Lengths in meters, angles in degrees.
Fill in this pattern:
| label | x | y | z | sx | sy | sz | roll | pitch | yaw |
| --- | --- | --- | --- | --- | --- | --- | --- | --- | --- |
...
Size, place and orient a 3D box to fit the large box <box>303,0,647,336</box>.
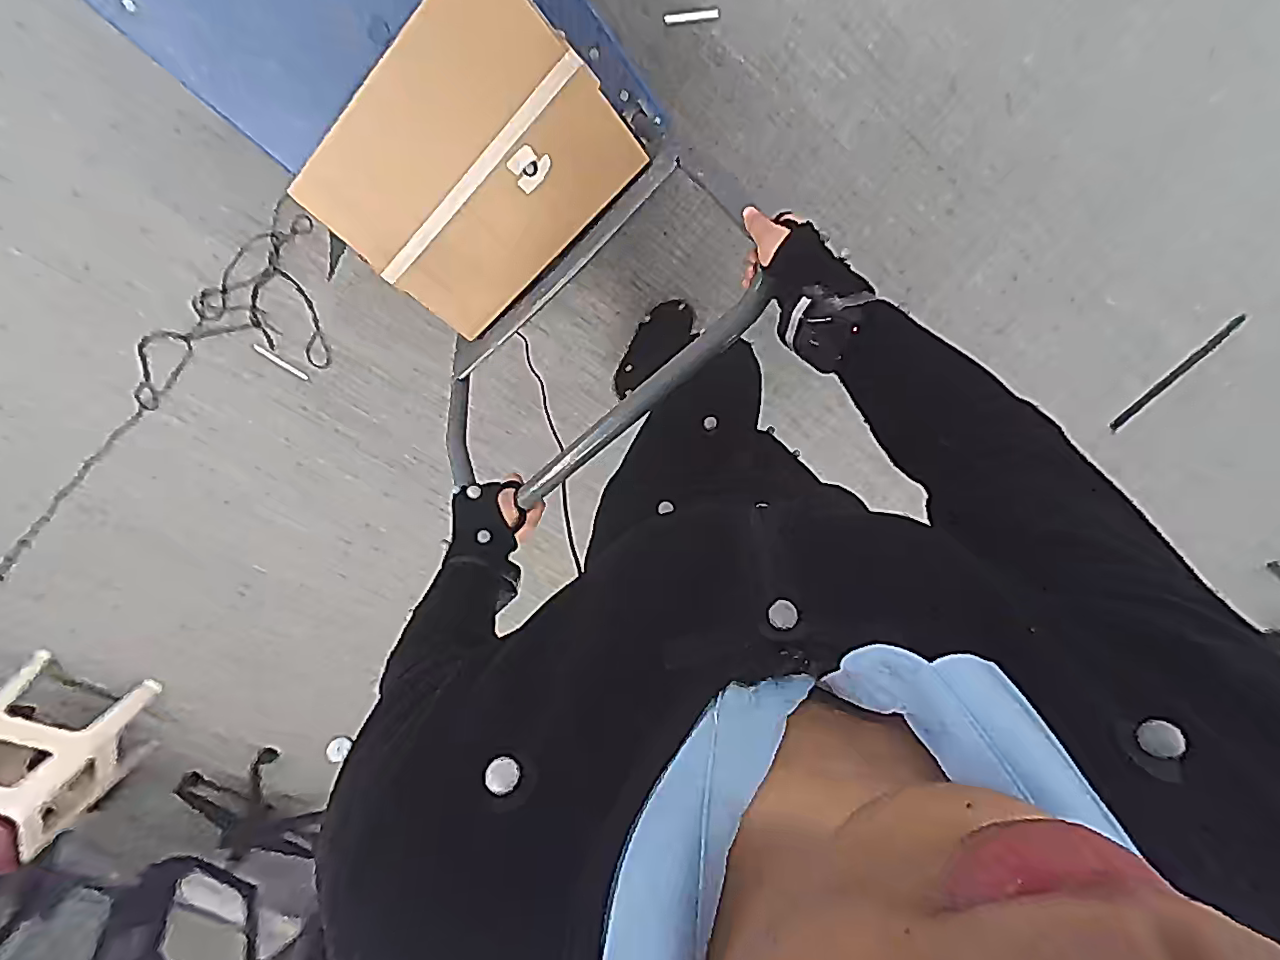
| label | x | y | z | sx | sy | sz | roll | pitch | yaw |
| --- | --- | --- | --- | --- | --- | --- | --- | --- | --- |
| large box | -0.254 | -0.528 | 0.886 | 0.408 | 0.320 | 0.320 | -39 | 126 | 18 |
